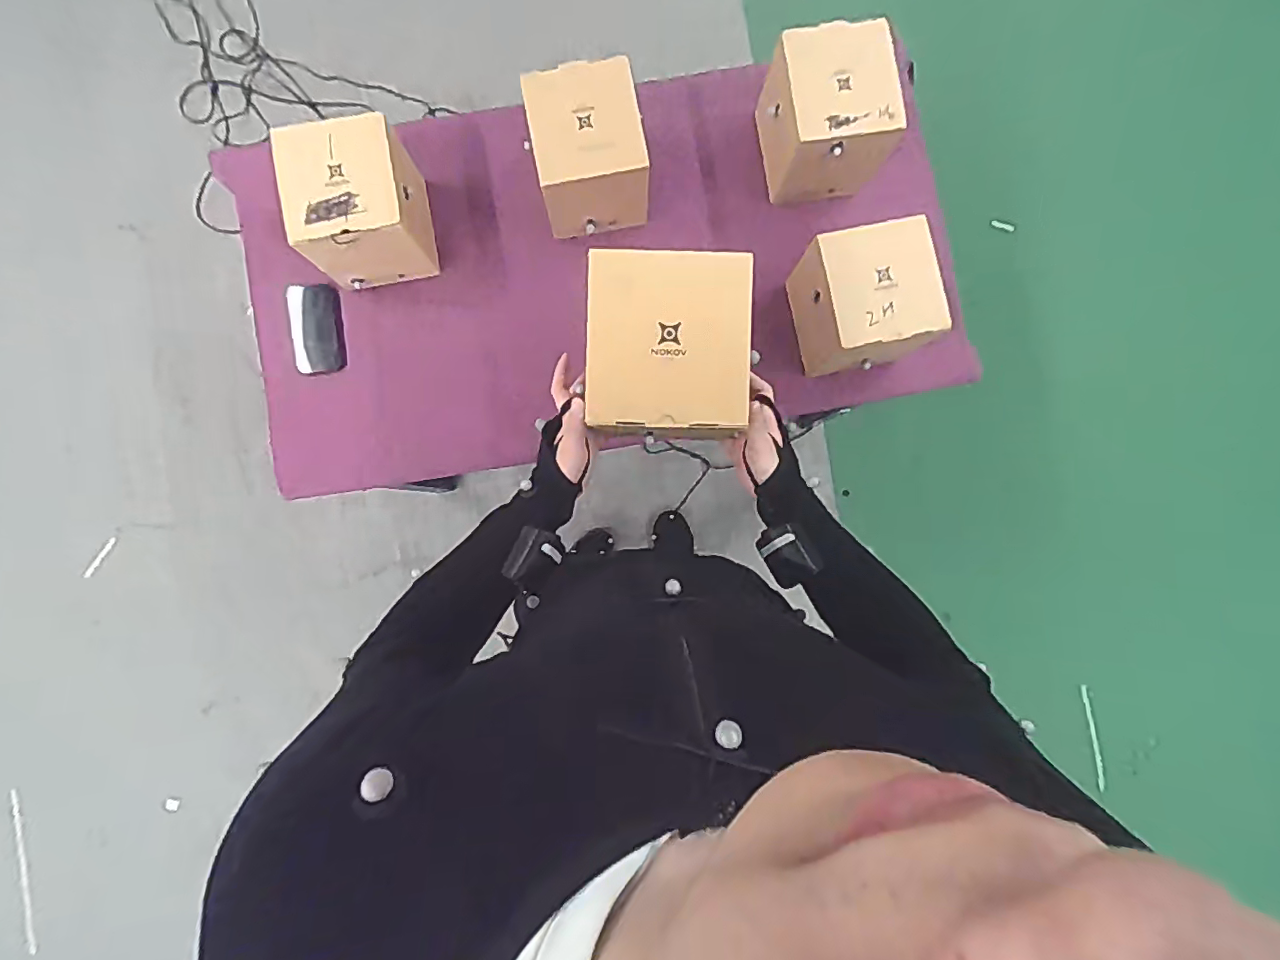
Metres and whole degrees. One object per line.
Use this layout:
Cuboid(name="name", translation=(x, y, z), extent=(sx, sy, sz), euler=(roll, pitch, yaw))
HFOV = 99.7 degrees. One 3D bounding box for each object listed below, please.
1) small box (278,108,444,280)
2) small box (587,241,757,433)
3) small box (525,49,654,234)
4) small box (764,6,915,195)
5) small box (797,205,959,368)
Cuboid(name="small box", translation=(-0.429, -0.437, 0.859), extent=(0.168, 0.176, 0.179), euler=(-11, 87, -1))
Cuboid(name="small box", translation=(0.030, -0.147, 0.612), extent=(0.168, 0.176, 0.179), euler=(2, 93, 0))
Cuboid(name="small box", translation=(-0.075, -0.530, 0.867), extent=(0.168, 0.176, 0.179), euler=(-11, 88, 0))
Cuboid(name="small box", translation=(0.308, -0.597, 0.870), extent=(0.168, 0.176, 0.179), euler=(-9, 87, 0))
Cuboid(name="small box", translation=(0.360, -0.293, 0.851), extent=(0.168, 0.176, 0.179), euler=(-11, 88, 1))
